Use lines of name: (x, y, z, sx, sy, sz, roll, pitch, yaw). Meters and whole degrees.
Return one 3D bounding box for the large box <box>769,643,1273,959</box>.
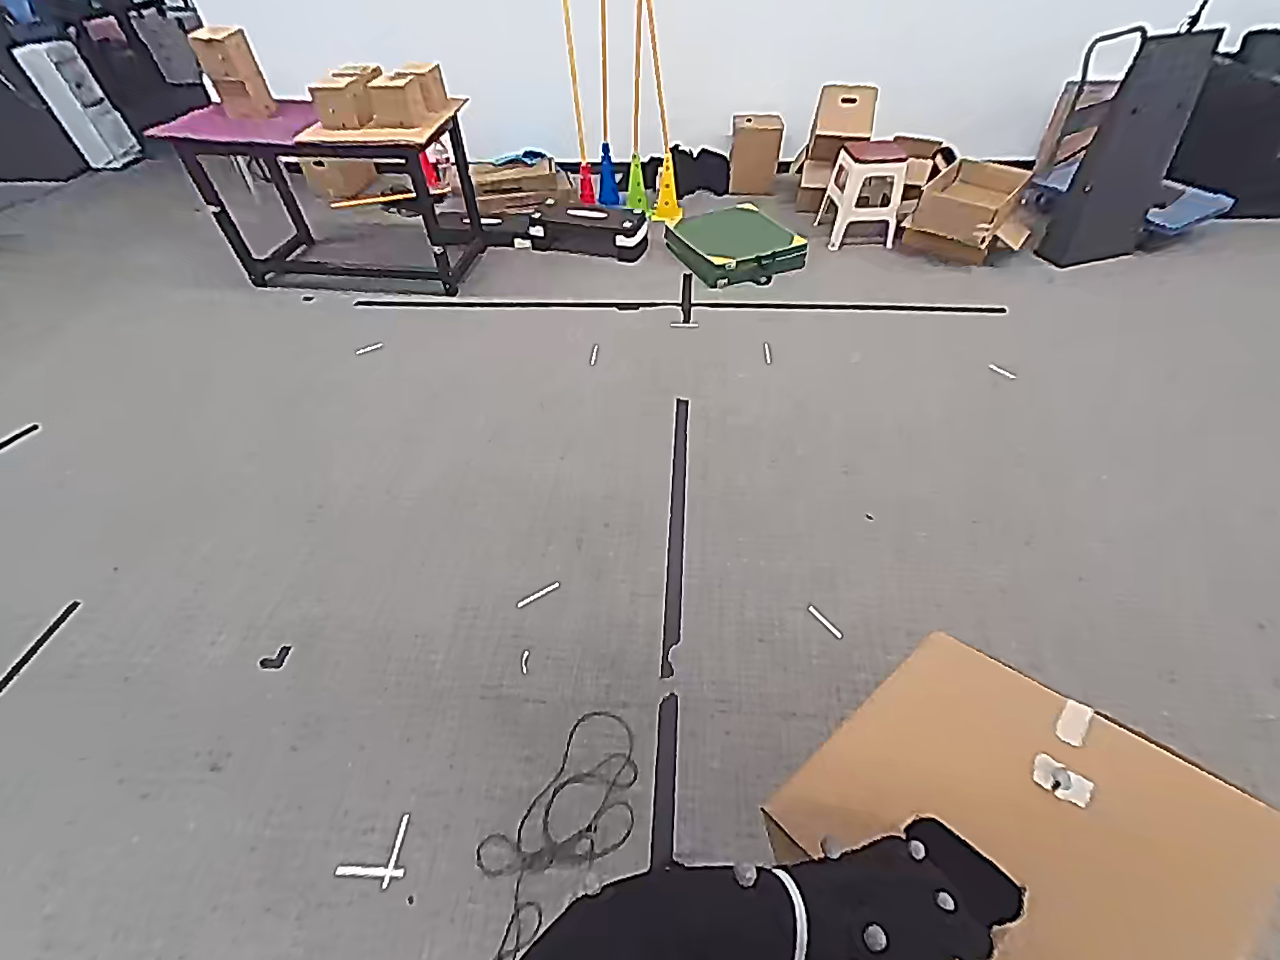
large box: (0.393, 0.475, 0.610, 0.320, 0.408, 0.320, -33, 34, -22)
